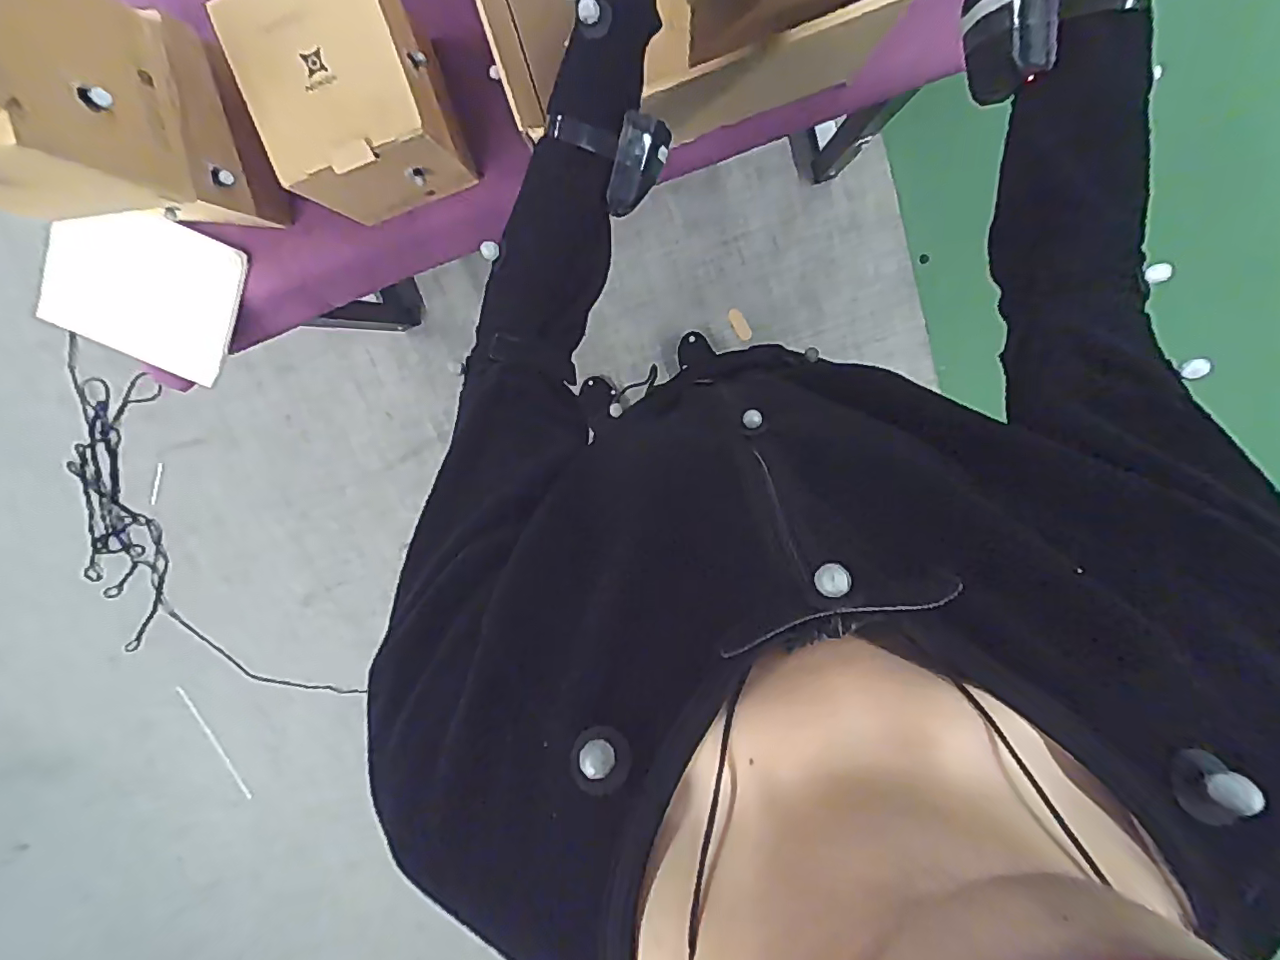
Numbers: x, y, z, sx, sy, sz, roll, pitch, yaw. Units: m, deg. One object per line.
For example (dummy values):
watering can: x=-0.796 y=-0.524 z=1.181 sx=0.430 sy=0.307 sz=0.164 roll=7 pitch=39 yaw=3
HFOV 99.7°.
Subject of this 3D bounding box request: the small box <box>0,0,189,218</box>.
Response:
small box: x=-0.551 y=-0.344 z=0.477 sx=0.179 sy=0.176 sz=0.168 roll=-4 pitch=103 yaw=5
